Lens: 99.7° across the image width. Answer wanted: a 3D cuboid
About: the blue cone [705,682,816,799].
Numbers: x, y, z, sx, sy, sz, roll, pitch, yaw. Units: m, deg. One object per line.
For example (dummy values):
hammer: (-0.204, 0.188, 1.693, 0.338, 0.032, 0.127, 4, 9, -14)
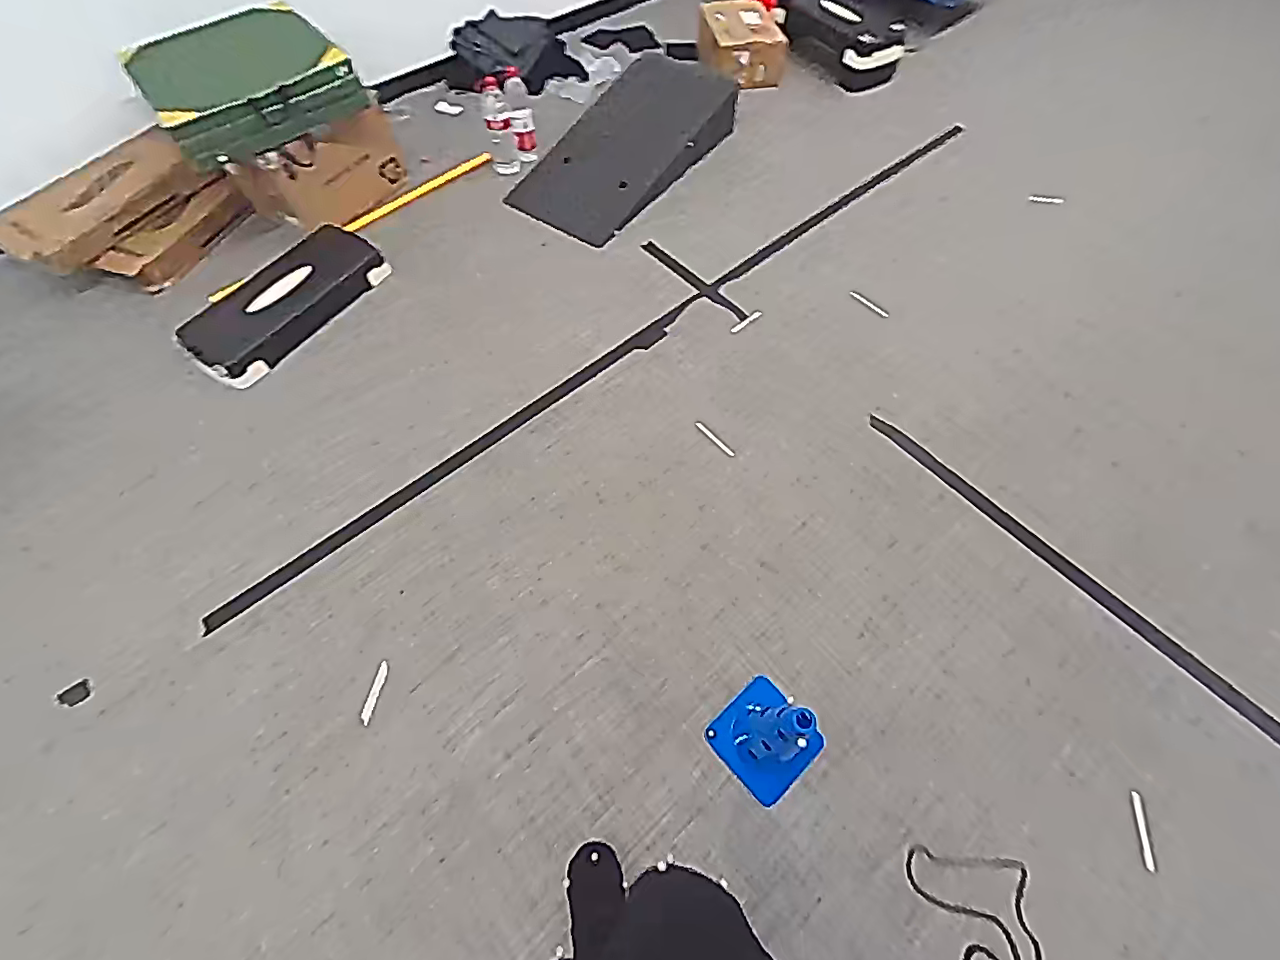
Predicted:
blue cone: (0.262, 0.485, 1.042, 0.192, 0.380, 0.193, -37, 66, -17)
